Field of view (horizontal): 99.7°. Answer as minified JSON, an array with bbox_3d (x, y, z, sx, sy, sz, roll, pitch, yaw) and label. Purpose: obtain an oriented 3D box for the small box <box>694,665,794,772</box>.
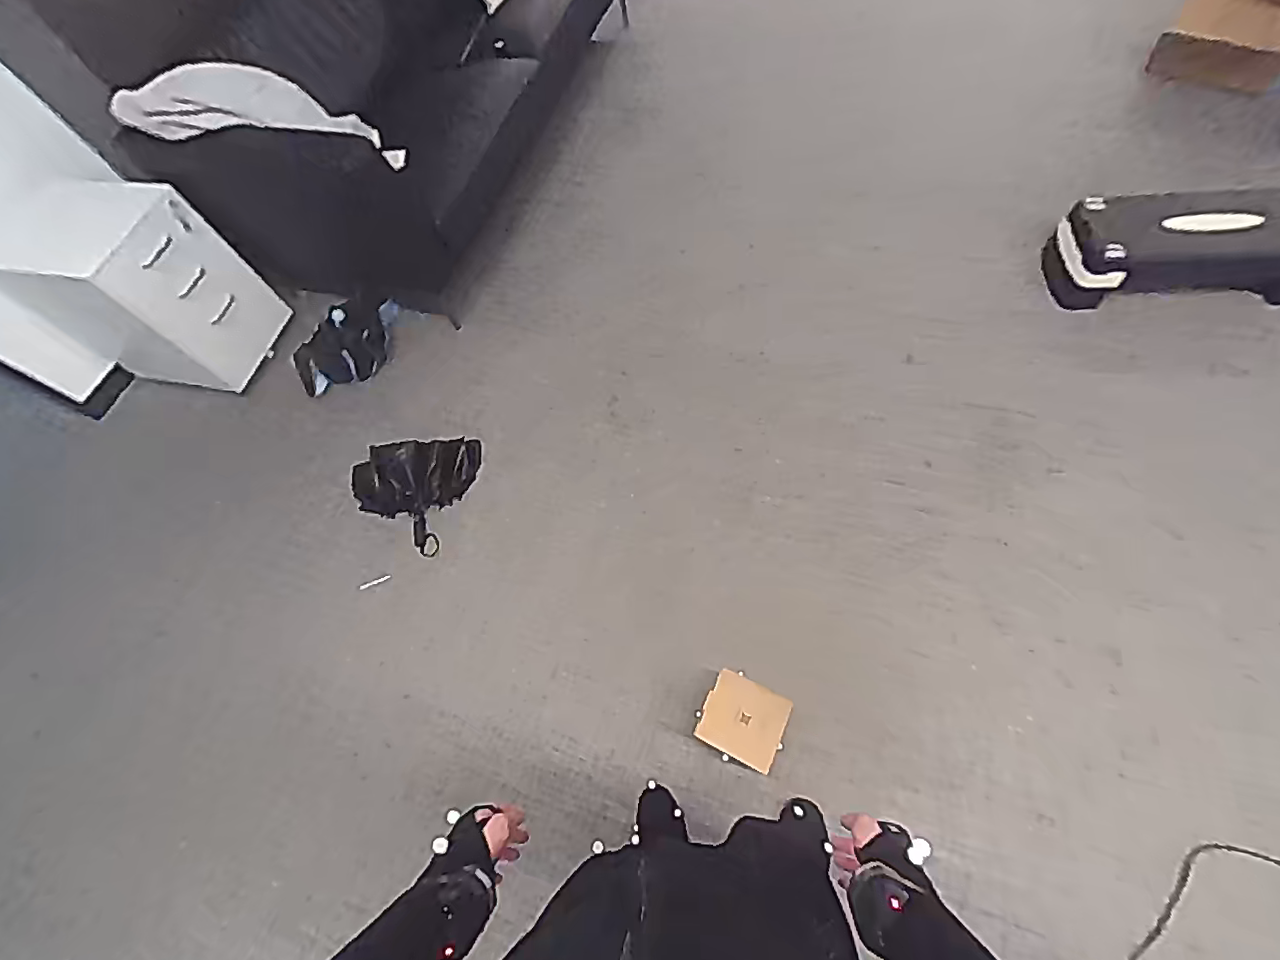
[{"bbox_3d":[0.243,0.561,1.275,0.179,0.176,0.168,22,71,18],"label":"small box"}]
